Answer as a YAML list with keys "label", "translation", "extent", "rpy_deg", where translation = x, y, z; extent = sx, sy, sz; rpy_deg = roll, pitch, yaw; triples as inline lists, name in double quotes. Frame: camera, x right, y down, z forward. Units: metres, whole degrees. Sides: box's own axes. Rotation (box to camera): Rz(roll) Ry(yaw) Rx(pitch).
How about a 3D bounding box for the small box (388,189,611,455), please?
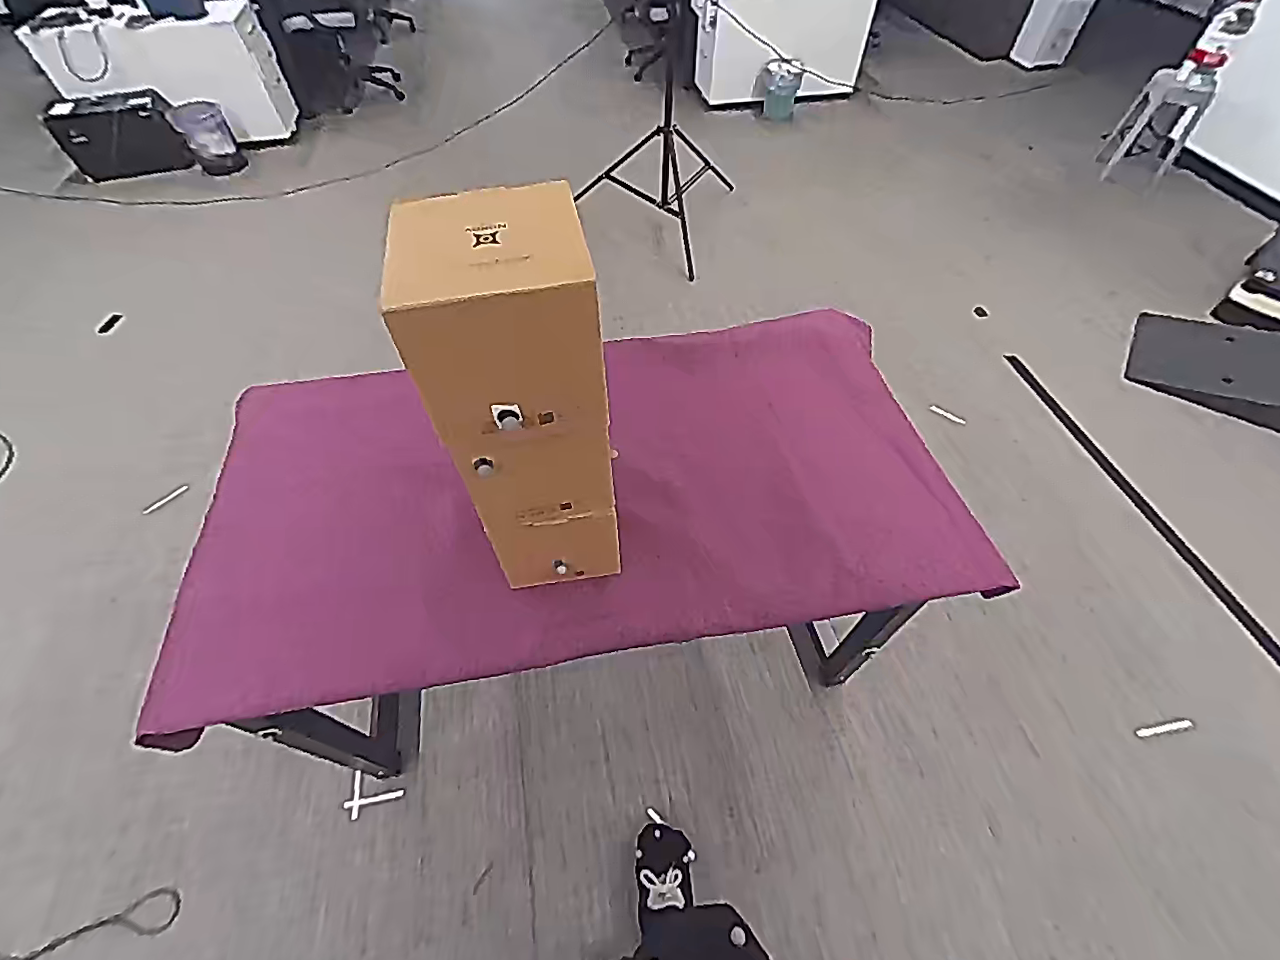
- label: "small box"
  translation: [-0.126, -0.151, 0.525]
  extent: [0.168, 0.176, 0.179]
  rpy_deg: [-11, 54, -7]

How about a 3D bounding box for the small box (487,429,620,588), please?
- label: "small box"
  translation: [-0.122, 0.036, 0.794]
  extent: [0.168, 0.176, 0.179]
  rpy_deg: [-8, 53, -5]
